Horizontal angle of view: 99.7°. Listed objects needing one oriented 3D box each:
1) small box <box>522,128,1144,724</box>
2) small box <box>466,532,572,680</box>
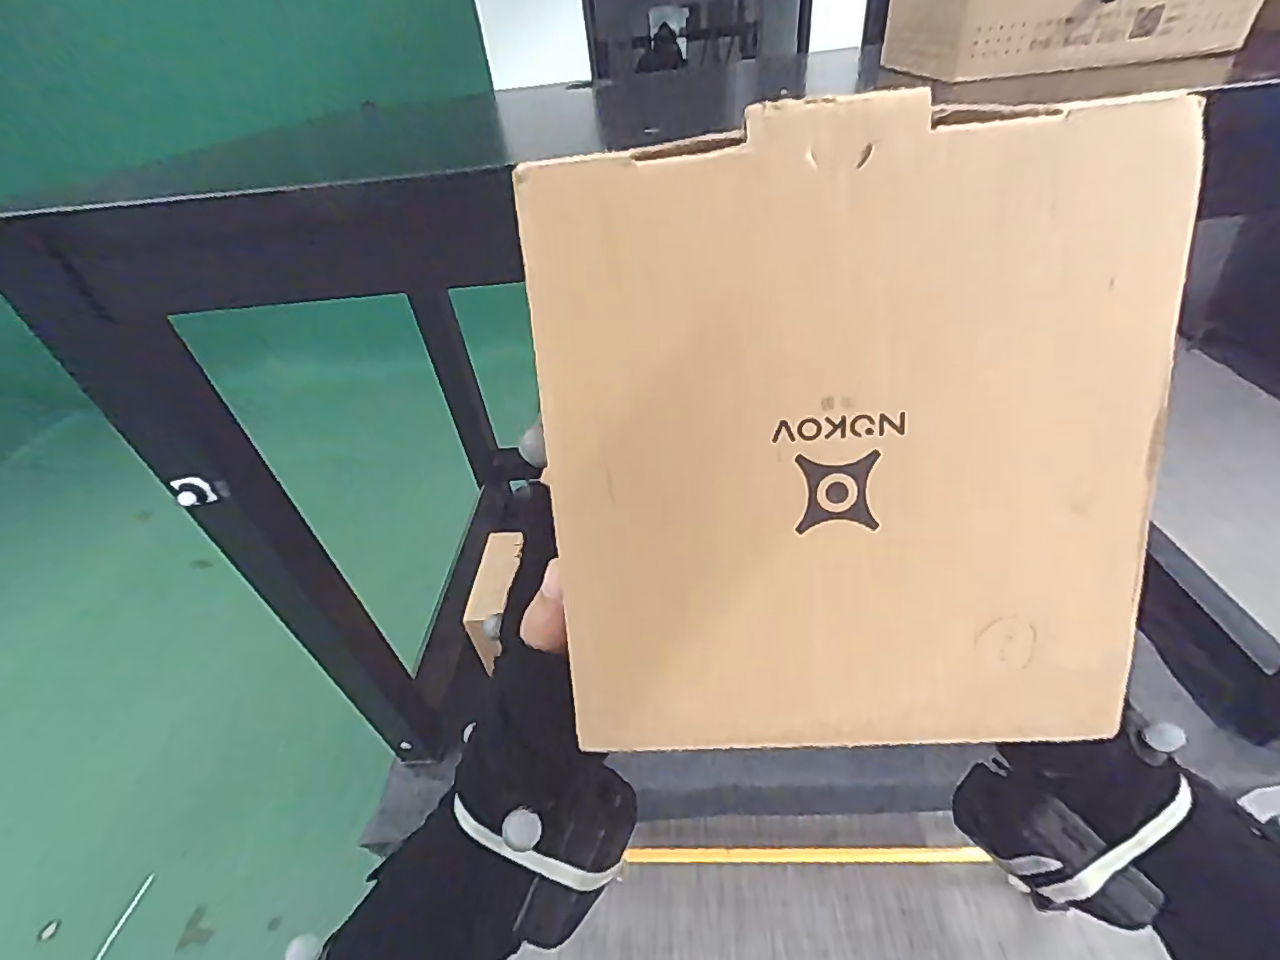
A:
[{"bbox_3d":[0.058,-0.020,0.241,0.168,0.179,0.176,-3,12,4],"label":"small box"},{"bbox_3d":[-0.162,0.204,0.883,0.168,0.176,0.179,-3,40,4],"label":"small box"}]
